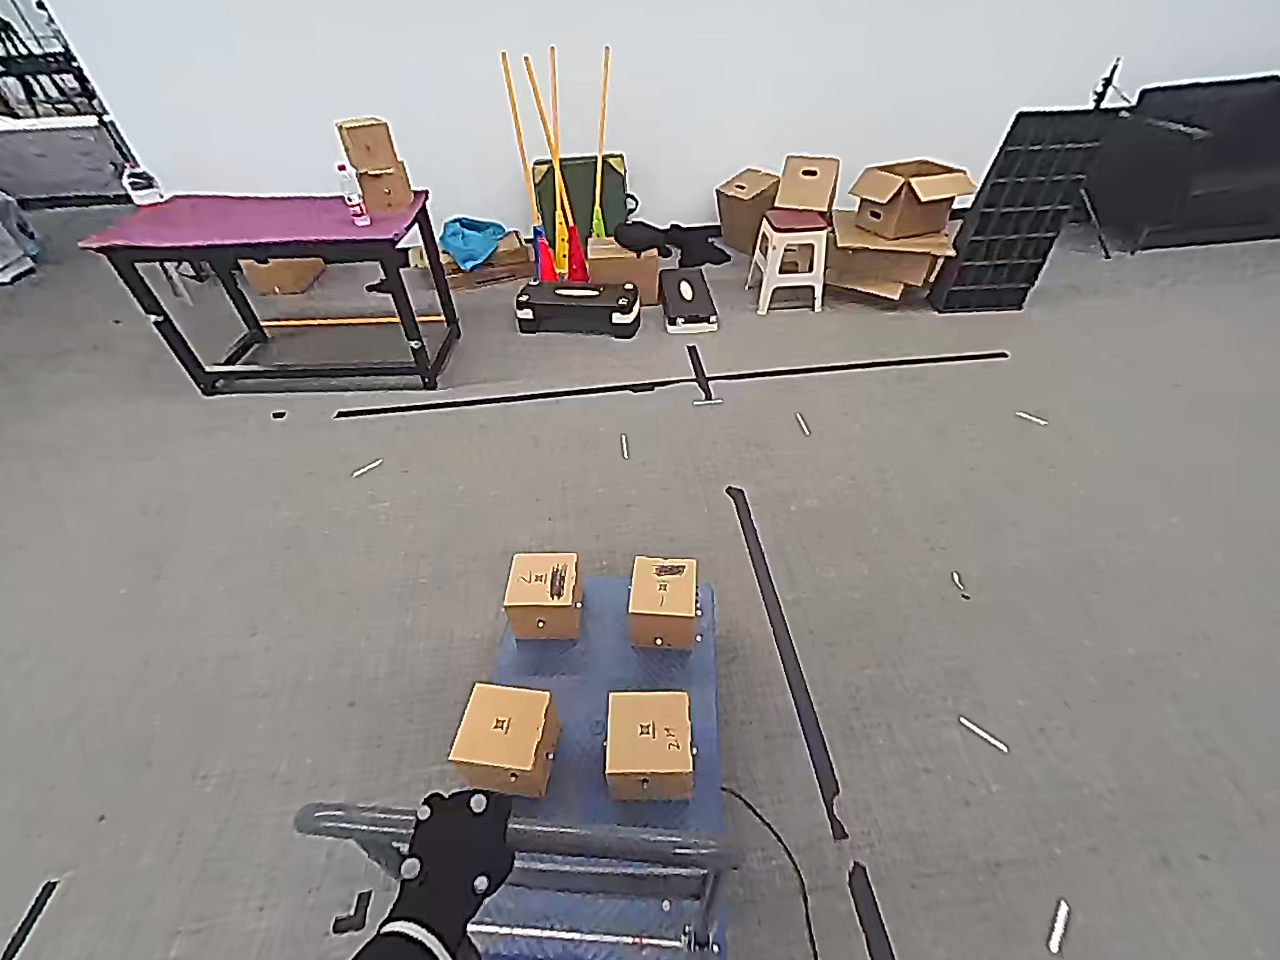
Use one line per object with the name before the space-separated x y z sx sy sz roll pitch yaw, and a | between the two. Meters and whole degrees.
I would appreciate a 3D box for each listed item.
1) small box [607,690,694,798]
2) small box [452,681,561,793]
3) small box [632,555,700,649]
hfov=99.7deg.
small box | 0.025 0.575 1.175 0.179 0.176 0.168 -1 43 1
small box | -0.284 0.569 1.194 0.179 0.176 0.168 5 44 5
small box | 0.069 0.324 1.437 0.168 0.176 0.179 3 45 5
